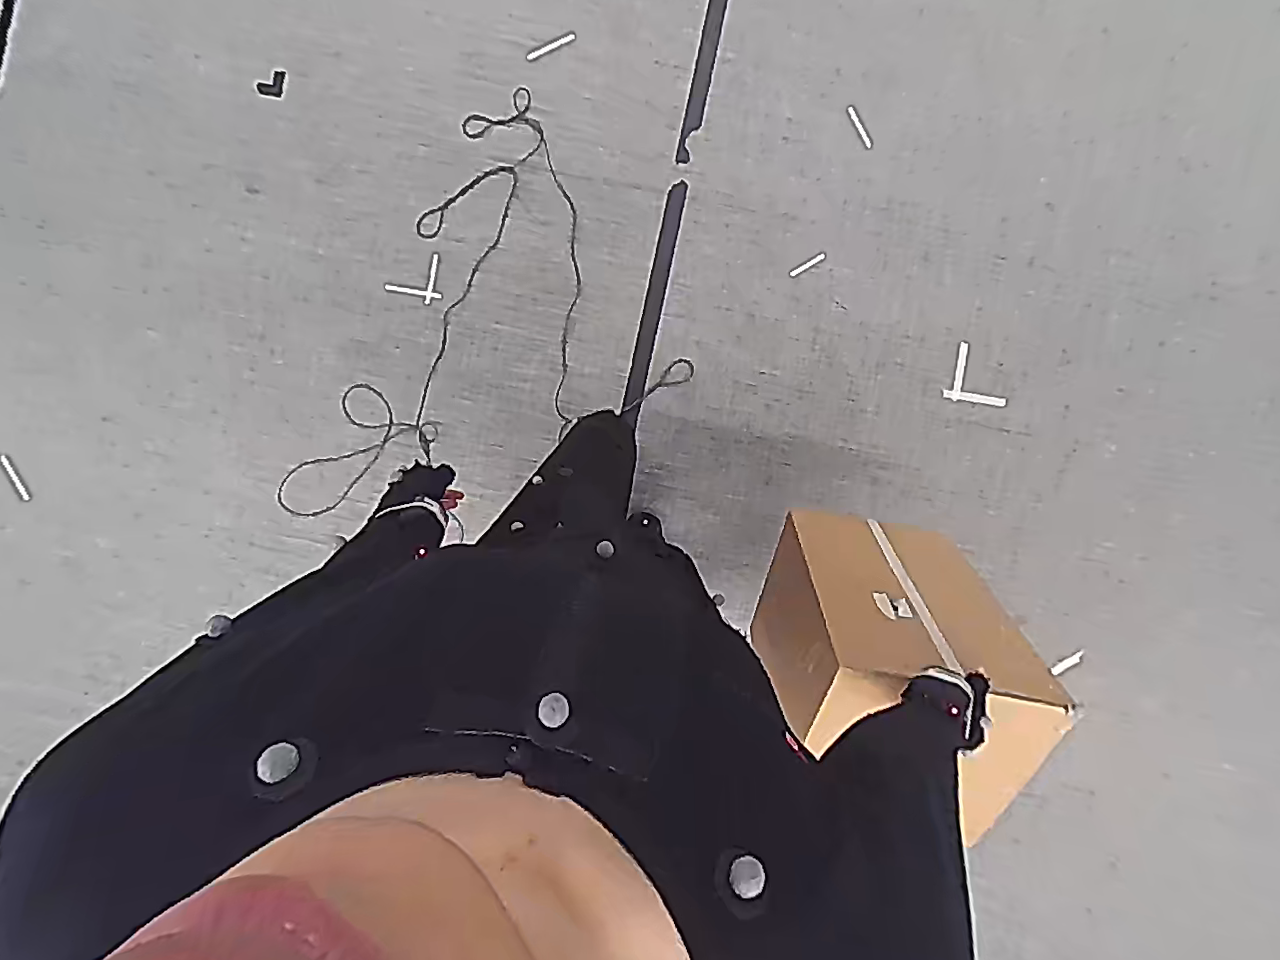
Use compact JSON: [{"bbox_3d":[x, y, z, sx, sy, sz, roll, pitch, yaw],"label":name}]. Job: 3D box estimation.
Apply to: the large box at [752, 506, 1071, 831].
[{"bbox_3d":[0.402,0.301,0.945,0.320,0.408,0.320,10,119,0],"label":"large box"}]
